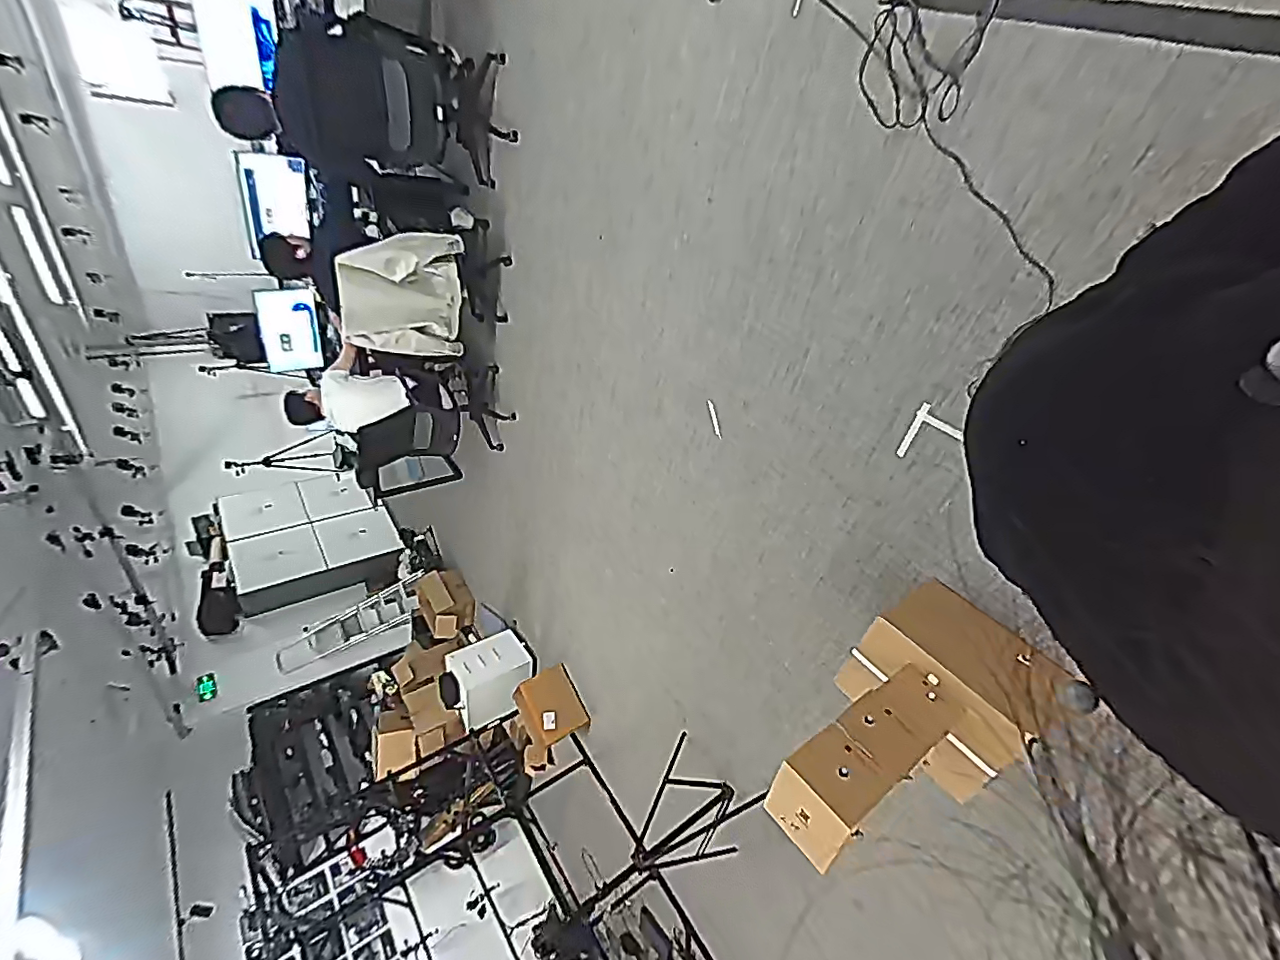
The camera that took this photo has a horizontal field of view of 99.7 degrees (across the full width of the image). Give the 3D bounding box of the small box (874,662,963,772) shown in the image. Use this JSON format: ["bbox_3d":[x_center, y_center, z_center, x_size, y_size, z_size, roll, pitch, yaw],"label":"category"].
[{"bbox_3d":[0.658,0.589,1.339,0.168,0.176,0.179,43,134,36],"label":"small box"}]

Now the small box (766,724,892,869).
[{"bbox_3d":[0.402,0.661,1.149,0.168,0.176,0.179,39,132,41],"label":"small box"}]

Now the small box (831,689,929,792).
[{"bbox_3d":[0.529,0.619,1.244,0.168,0.176,0.179,43,135,38],"label":"small box"}]
